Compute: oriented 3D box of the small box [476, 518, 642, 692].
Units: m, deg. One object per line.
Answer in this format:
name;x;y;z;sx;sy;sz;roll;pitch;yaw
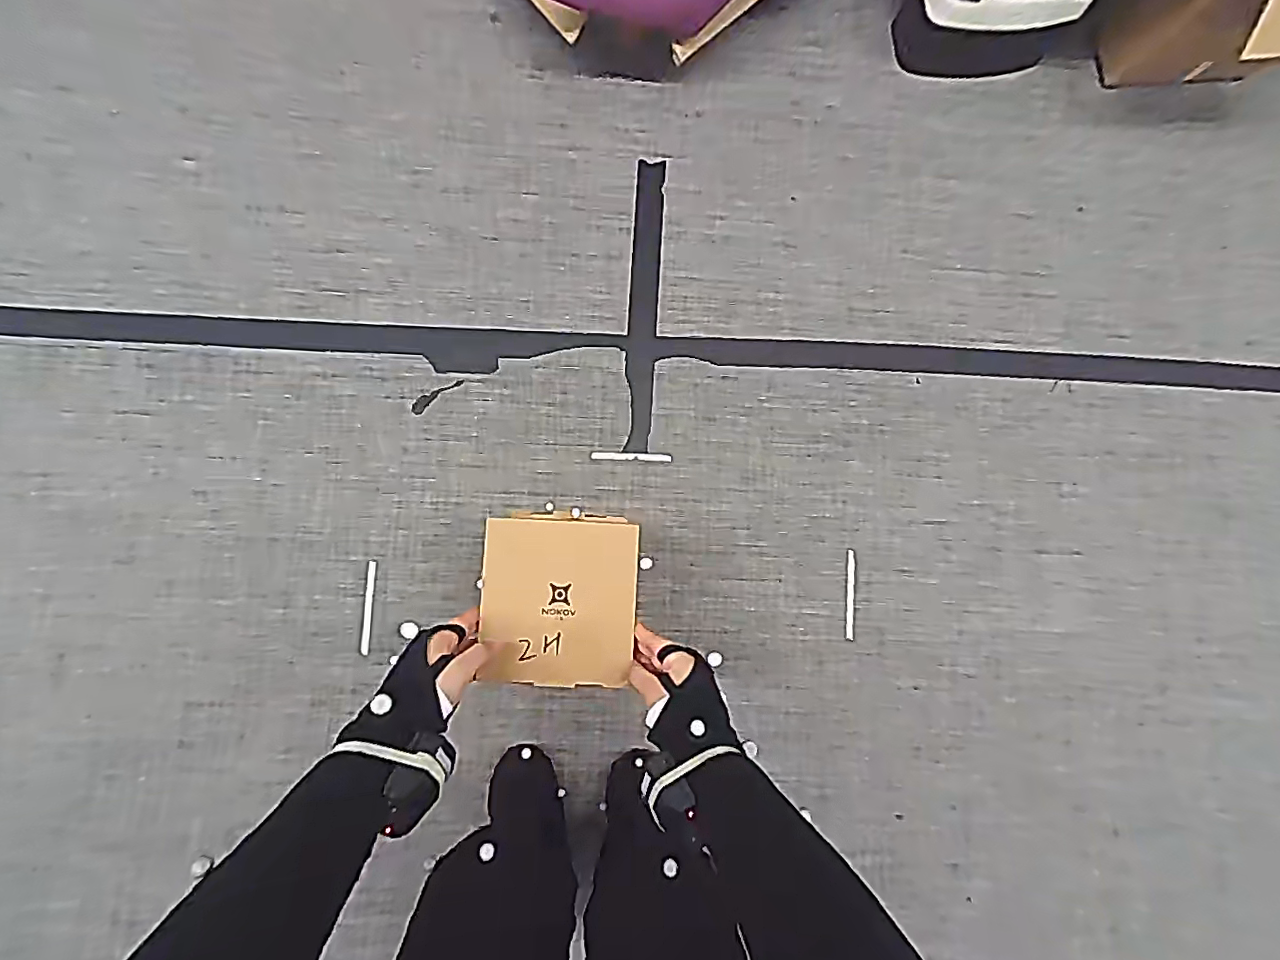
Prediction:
small box;-0.088;0.139;0.652;0.168;0.176;0.179;3;86;-2
